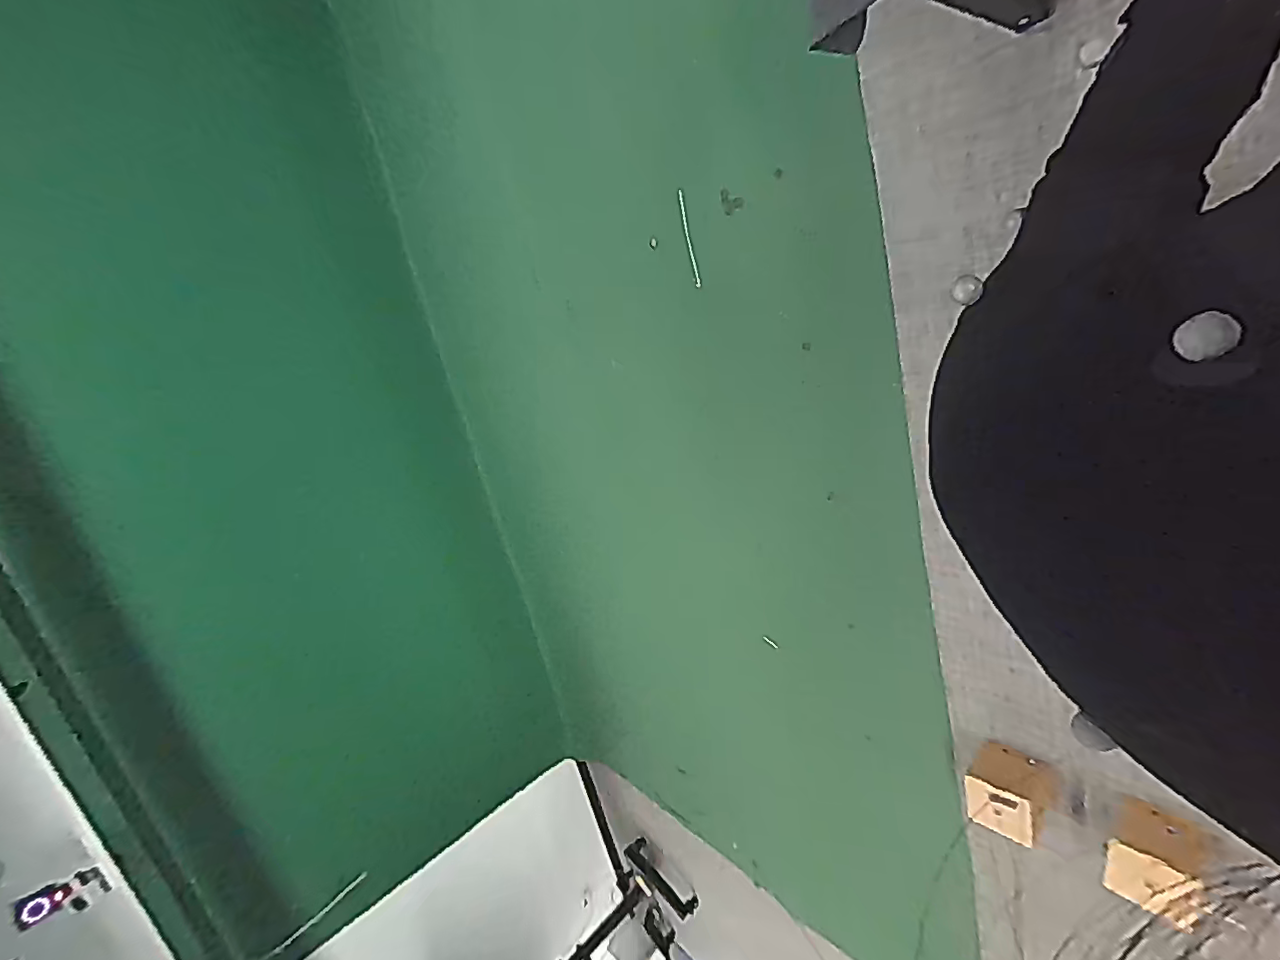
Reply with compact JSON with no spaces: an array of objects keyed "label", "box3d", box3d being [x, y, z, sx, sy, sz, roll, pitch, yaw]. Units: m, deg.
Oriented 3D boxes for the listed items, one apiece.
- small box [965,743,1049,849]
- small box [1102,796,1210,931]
[{"label":"small box","box3d":[1.082,0.917,1.592,0.168,0.176,0.179,5,115,51]},{"label":"small box","box3d":[1.287,0.946,1.349,0.168,0.176,0.179,12,118,49]}]
